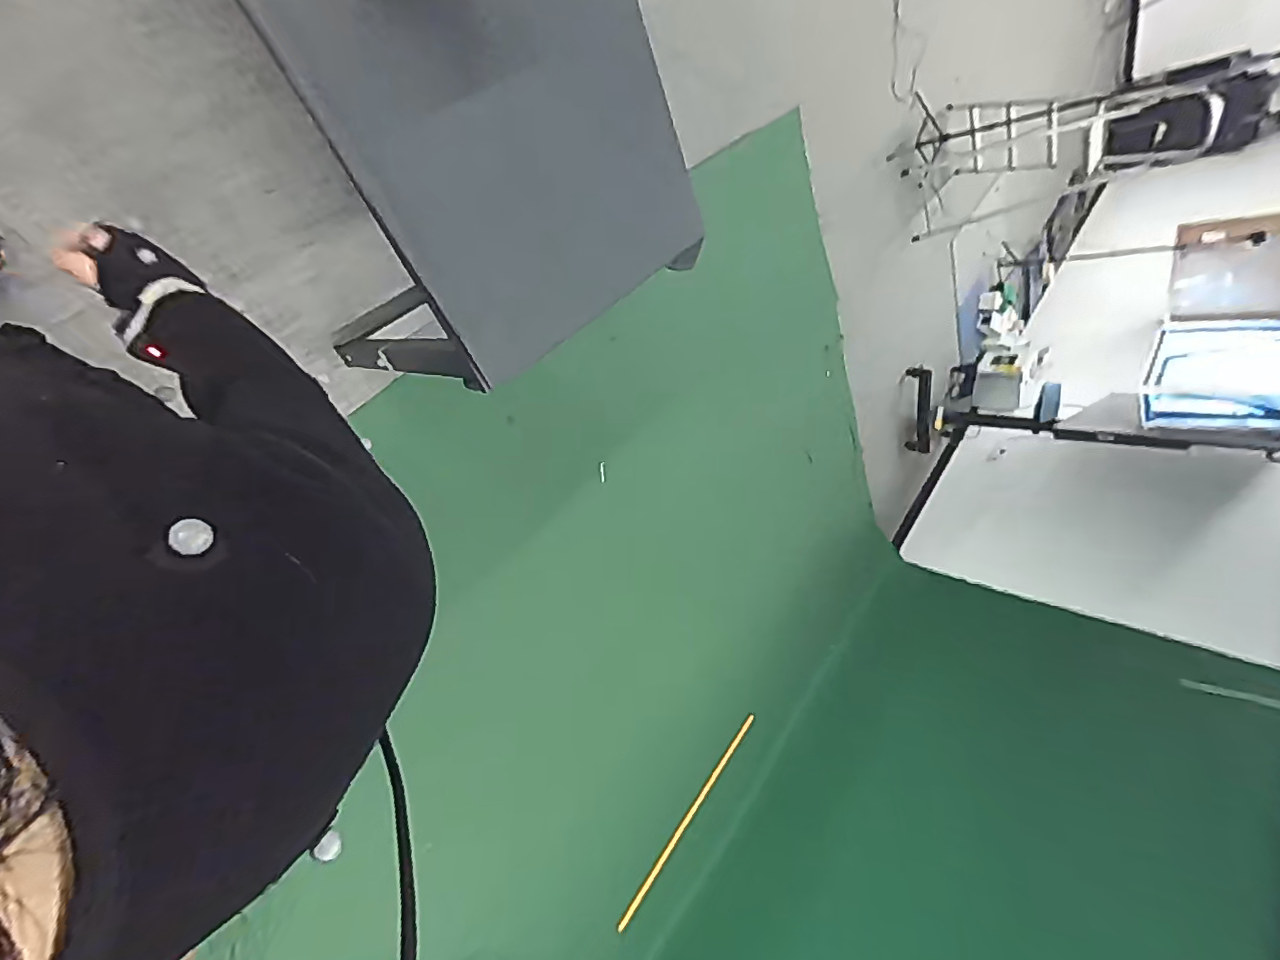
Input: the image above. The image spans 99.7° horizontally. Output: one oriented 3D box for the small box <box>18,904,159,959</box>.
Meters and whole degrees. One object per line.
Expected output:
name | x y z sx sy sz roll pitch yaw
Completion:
small box | -1.072 0.966 1.039 0.168 0.176 0.179 -50 132 -24
